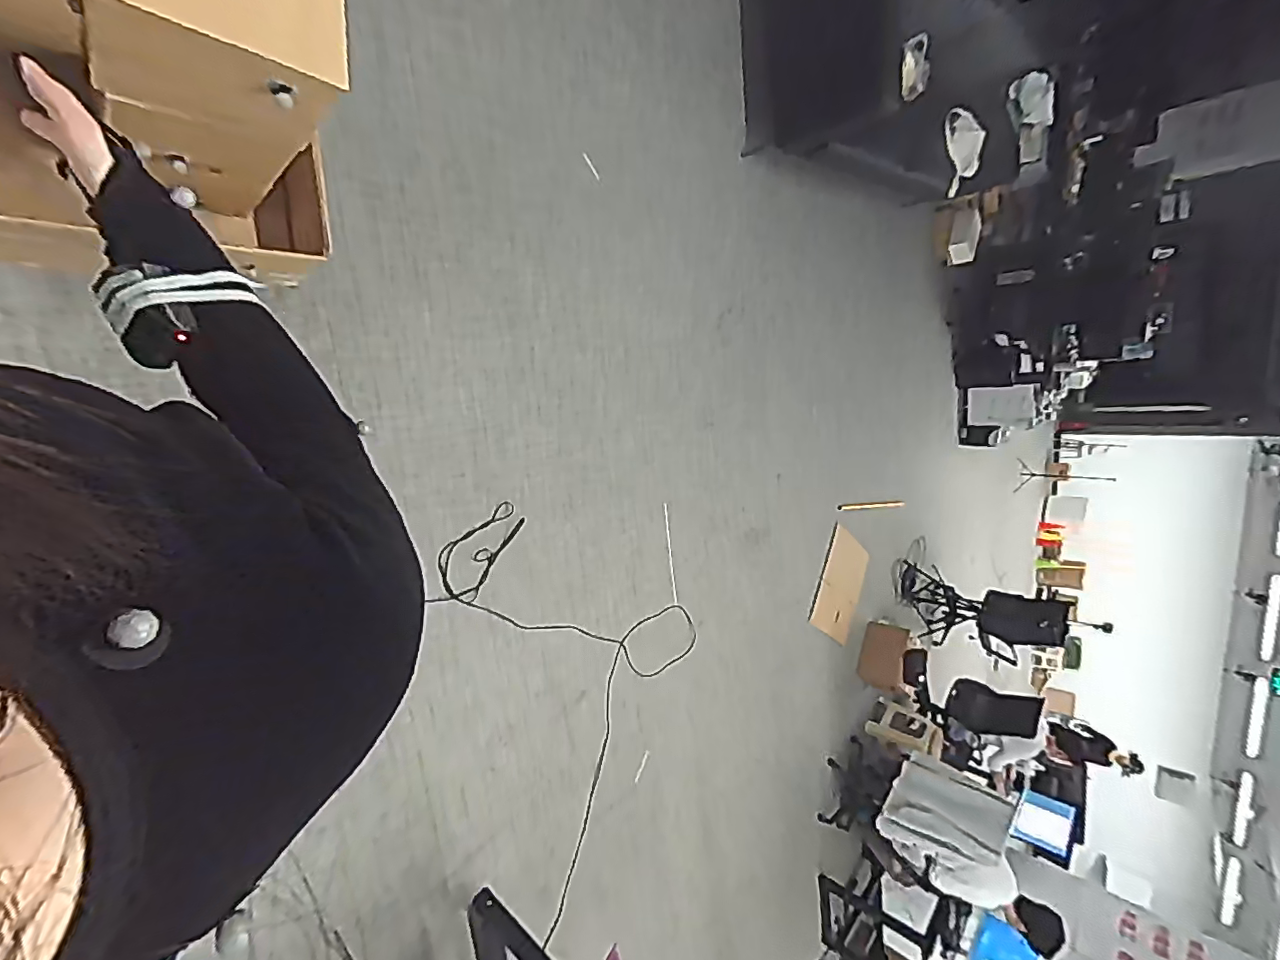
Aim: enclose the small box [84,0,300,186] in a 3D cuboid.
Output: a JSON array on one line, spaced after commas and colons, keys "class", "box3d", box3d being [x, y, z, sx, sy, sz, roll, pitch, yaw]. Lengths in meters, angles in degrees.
[{"class": "small box", "box3d": [-0.506, -0.468, 0.613, 0.168, 0.176, 0.179, -8, 101, -43]}]
